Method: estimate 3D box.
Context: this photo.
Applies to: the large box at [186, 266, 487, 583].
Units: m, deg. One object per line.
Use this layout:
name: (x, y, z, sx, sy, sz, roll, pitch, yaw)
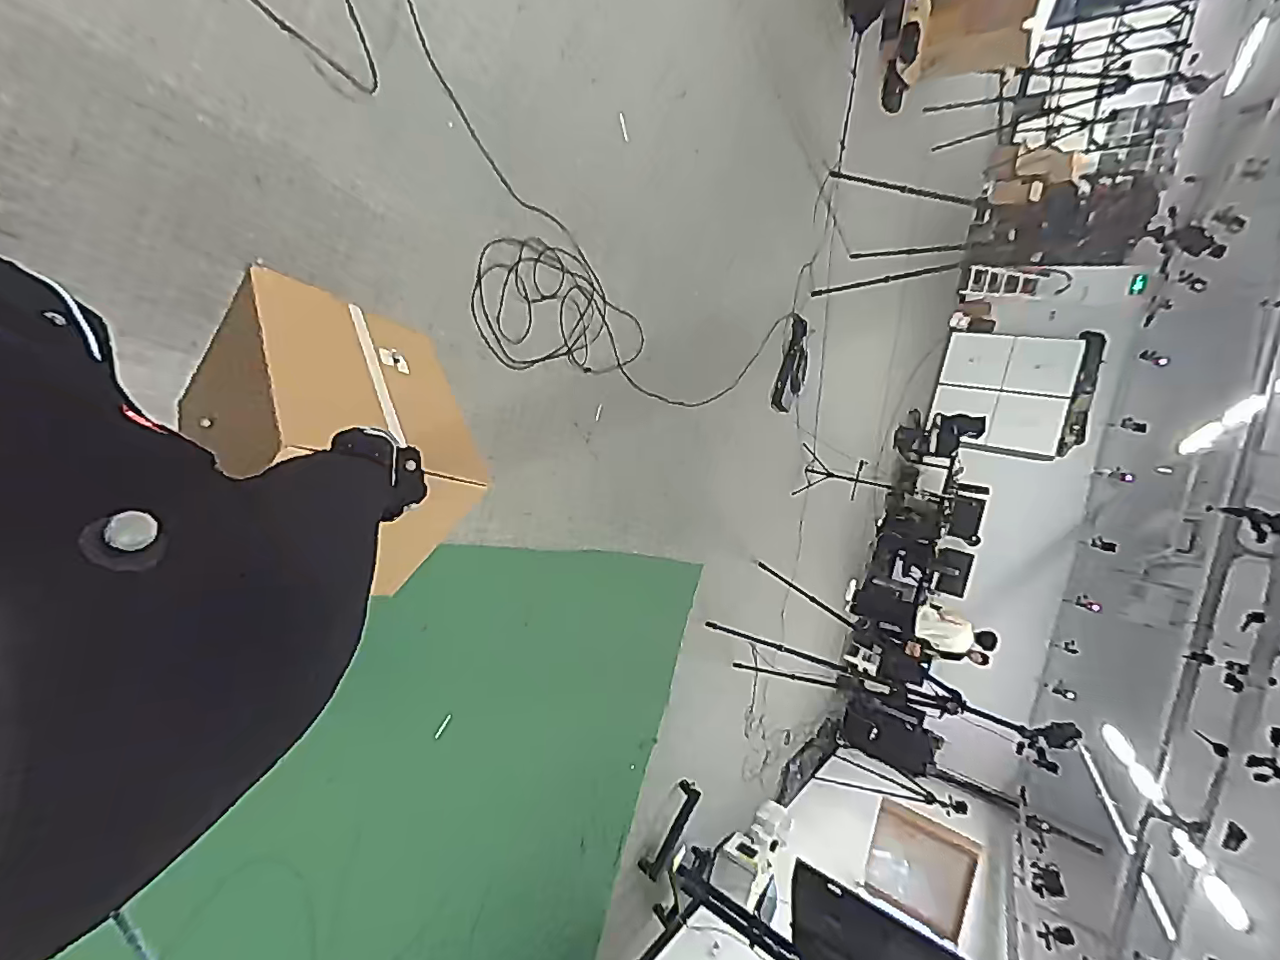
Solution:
large box: (-0.532, -0.073, 0.931, 0.320, 0.408, 0.320, -45, 148, 20)
